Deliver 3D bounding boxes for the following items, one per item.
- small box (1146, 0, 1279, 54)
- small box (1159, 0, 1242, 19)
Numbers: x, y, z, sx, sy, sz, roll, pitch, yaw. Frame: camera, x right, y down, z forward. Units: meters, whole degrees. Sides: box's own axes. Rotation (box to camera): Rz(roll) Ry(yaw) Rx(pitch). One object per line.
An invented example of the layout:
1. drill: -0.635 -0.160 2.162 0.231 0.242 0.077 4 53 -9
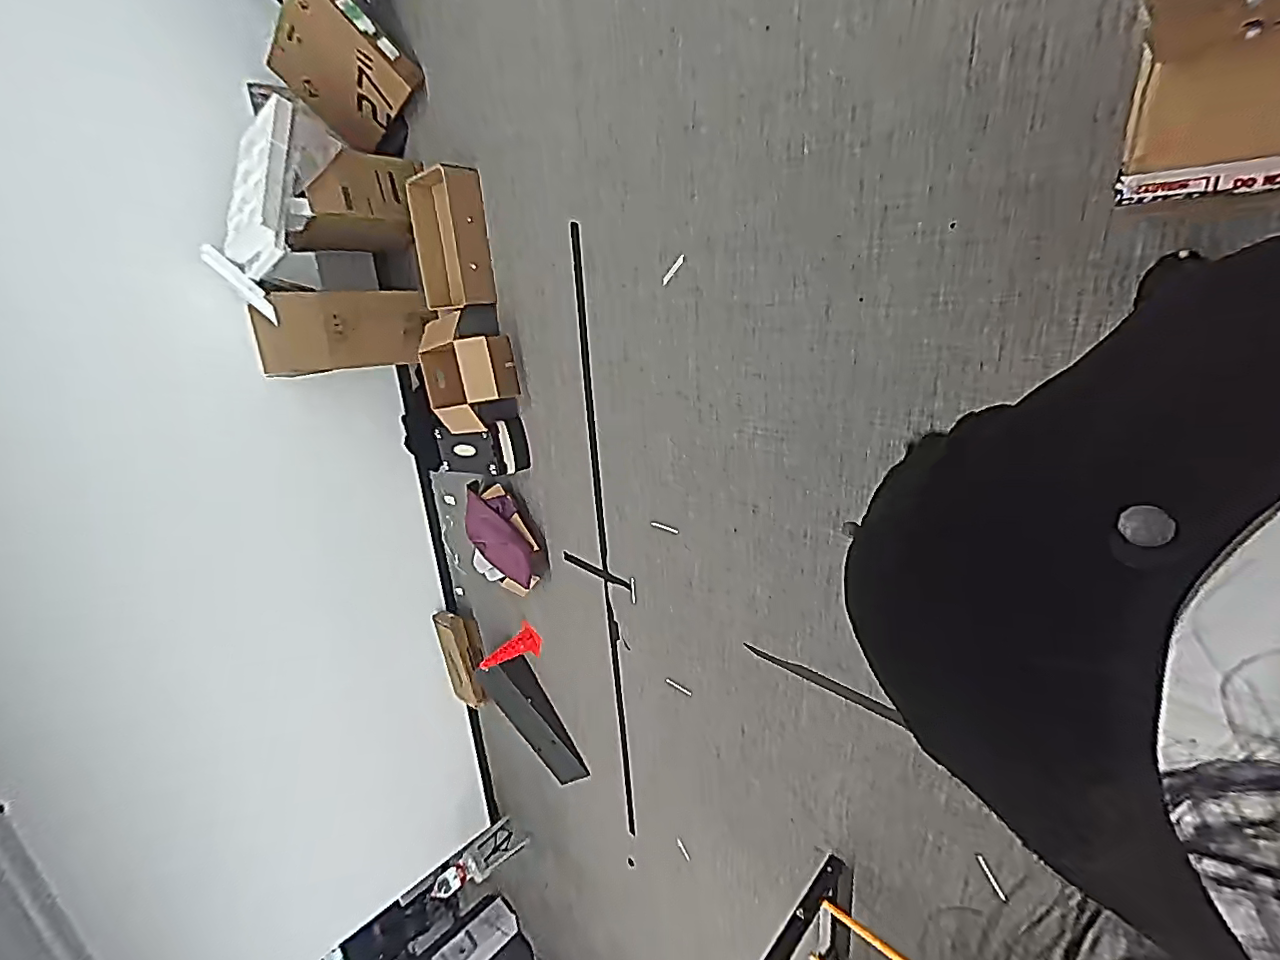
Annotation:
1. small box: 0.629 -0.563 0.529 0.168 0.176 0.179 12 117 47
2. small box: 0.521 -0.507 0.417 0.168 0.176 0.179 17 120 45
